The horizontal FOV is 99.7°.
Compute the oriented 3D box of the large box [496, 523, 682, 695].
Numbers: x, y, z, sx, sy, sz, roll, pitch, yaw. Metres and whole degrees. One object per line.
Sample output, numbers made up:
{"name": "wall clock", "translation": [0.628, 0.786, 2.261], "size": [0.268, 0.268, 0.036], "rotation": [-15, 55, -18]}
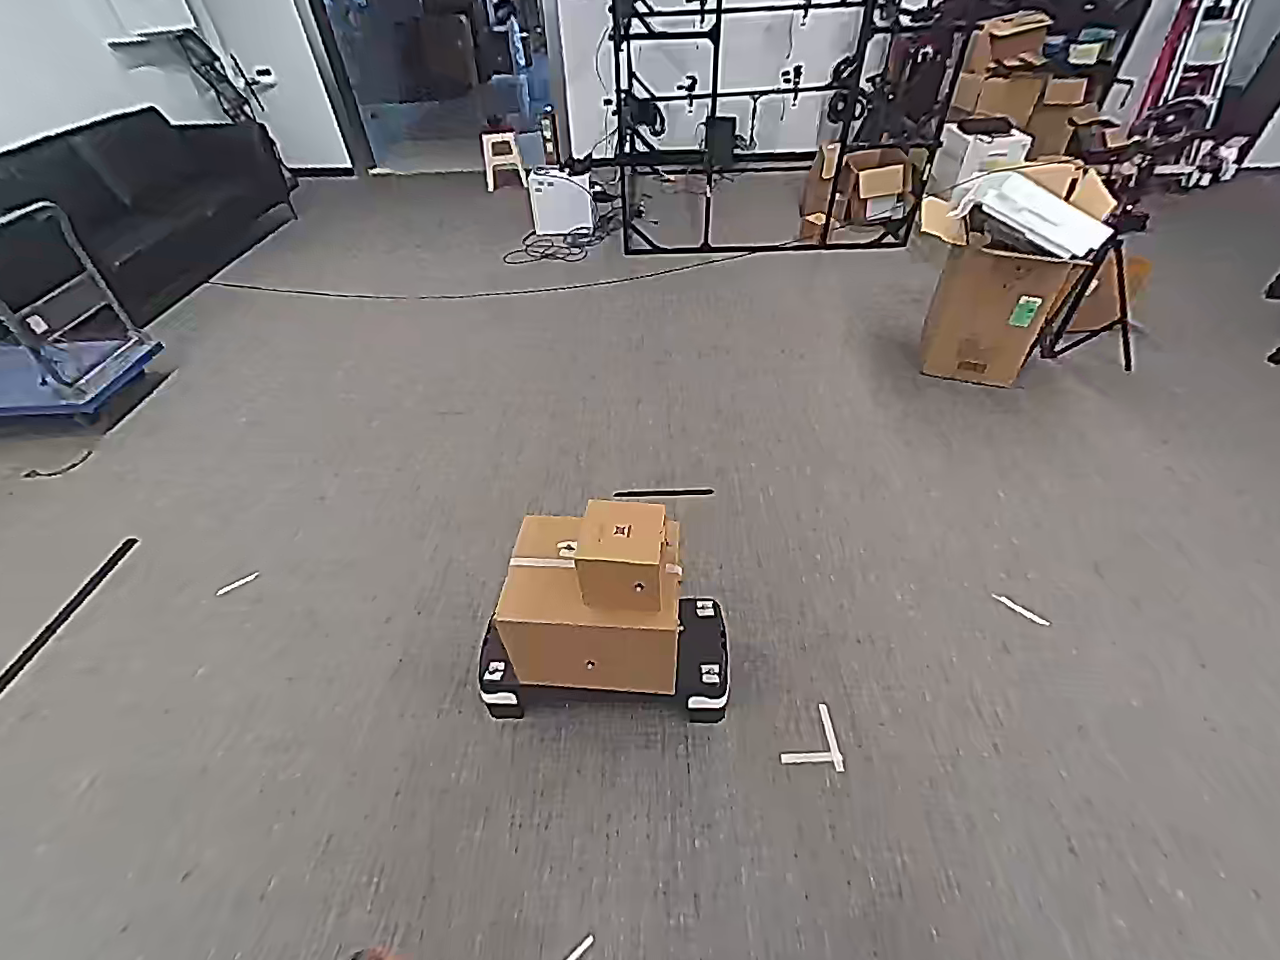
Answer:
{"name": "large box", "translation": [-0.098, 0.324, 1.363], "size": [0.408, 0.320, 0.320], "rotation": [1, 43, 5]}

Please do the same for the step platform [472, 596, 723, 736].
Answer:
{"name": "step platform", "translation": [-0.111, 0.505, 1.519], "size": [0.684, 0.204, 0.286], "rotation": [3, 44, 7]}

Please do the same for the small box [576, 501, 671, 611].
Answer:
{"name": "small box", "translation": [-0.028, 0.166, 1.170], "size": [0.179, 0.176, 0.168], "rotation": [4, 44, 7]}
